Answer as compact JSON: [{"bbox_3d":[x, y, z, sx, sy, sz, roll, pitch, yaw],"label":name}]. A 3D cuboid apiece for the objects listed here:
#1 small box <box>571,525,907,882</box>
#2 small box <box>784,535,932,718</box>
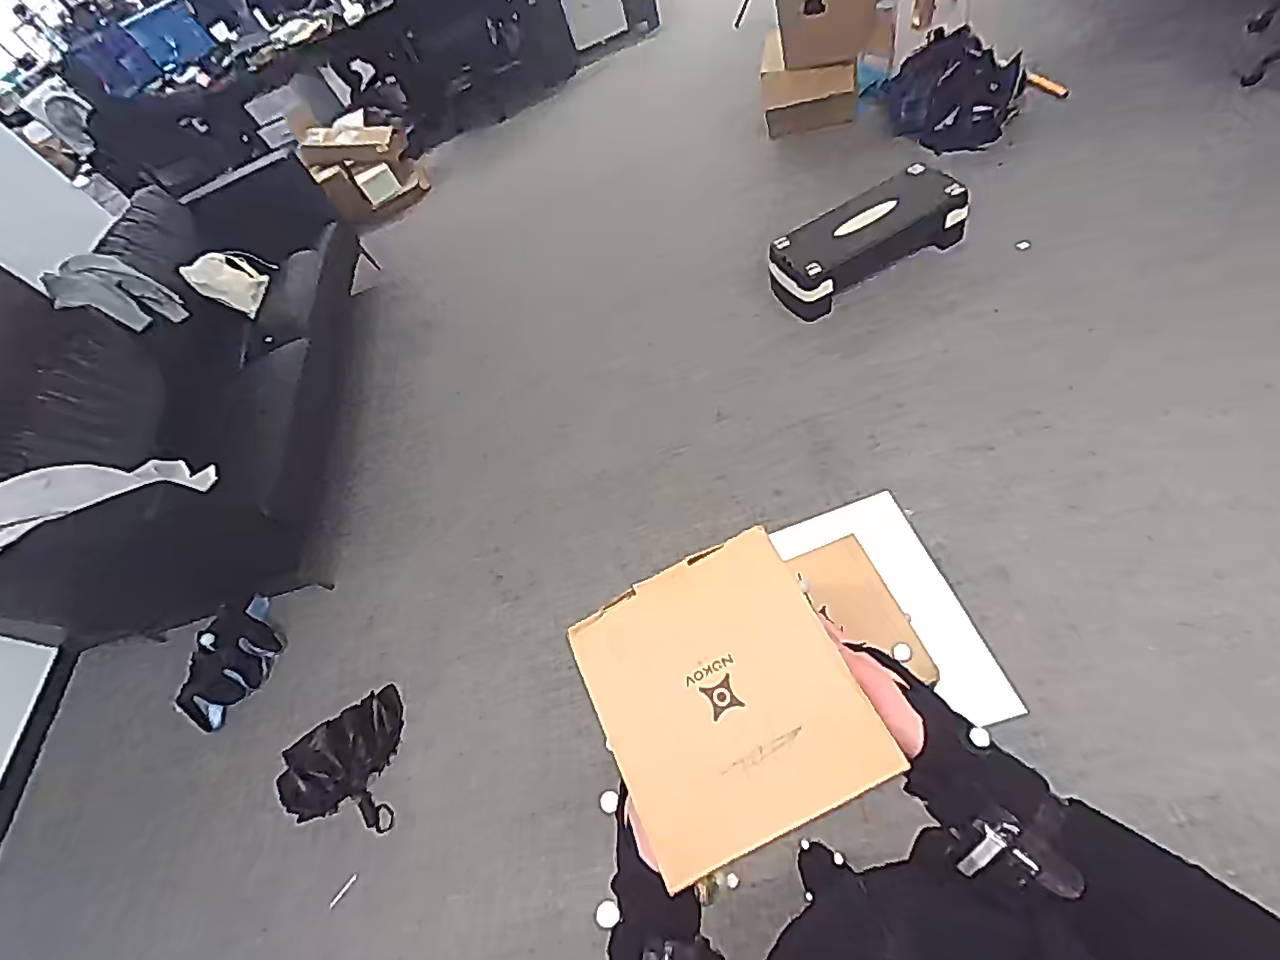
[{"bbox_3d":[0.072,0.168,0.433,0.168,0.176,0.179,-30,65,2],"label":"small box"},{"bbox_3d":[0.220,0.201,0.654,0.168,0.176,0.179,-23,52,5],"label":"small box"}]
